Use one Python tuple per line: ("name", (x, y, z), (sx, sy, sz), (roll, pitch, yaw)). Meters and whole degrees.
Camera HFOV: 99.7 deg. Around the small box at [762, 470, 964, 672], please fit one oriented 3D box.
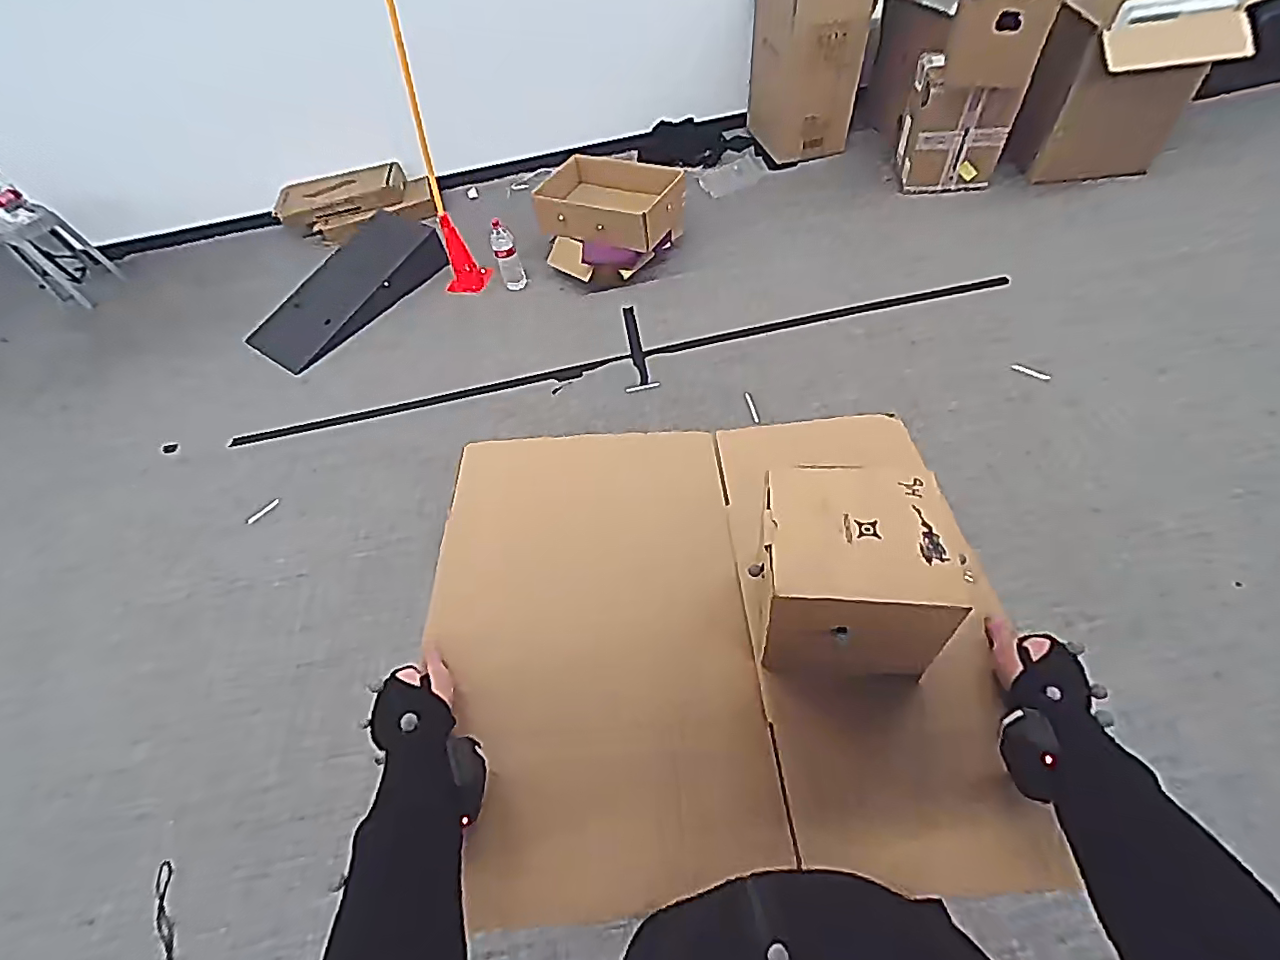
("small box", (0.229, 0.105, 0.611), (0.179, 0.176, 0.168), (0, 50, 10))
